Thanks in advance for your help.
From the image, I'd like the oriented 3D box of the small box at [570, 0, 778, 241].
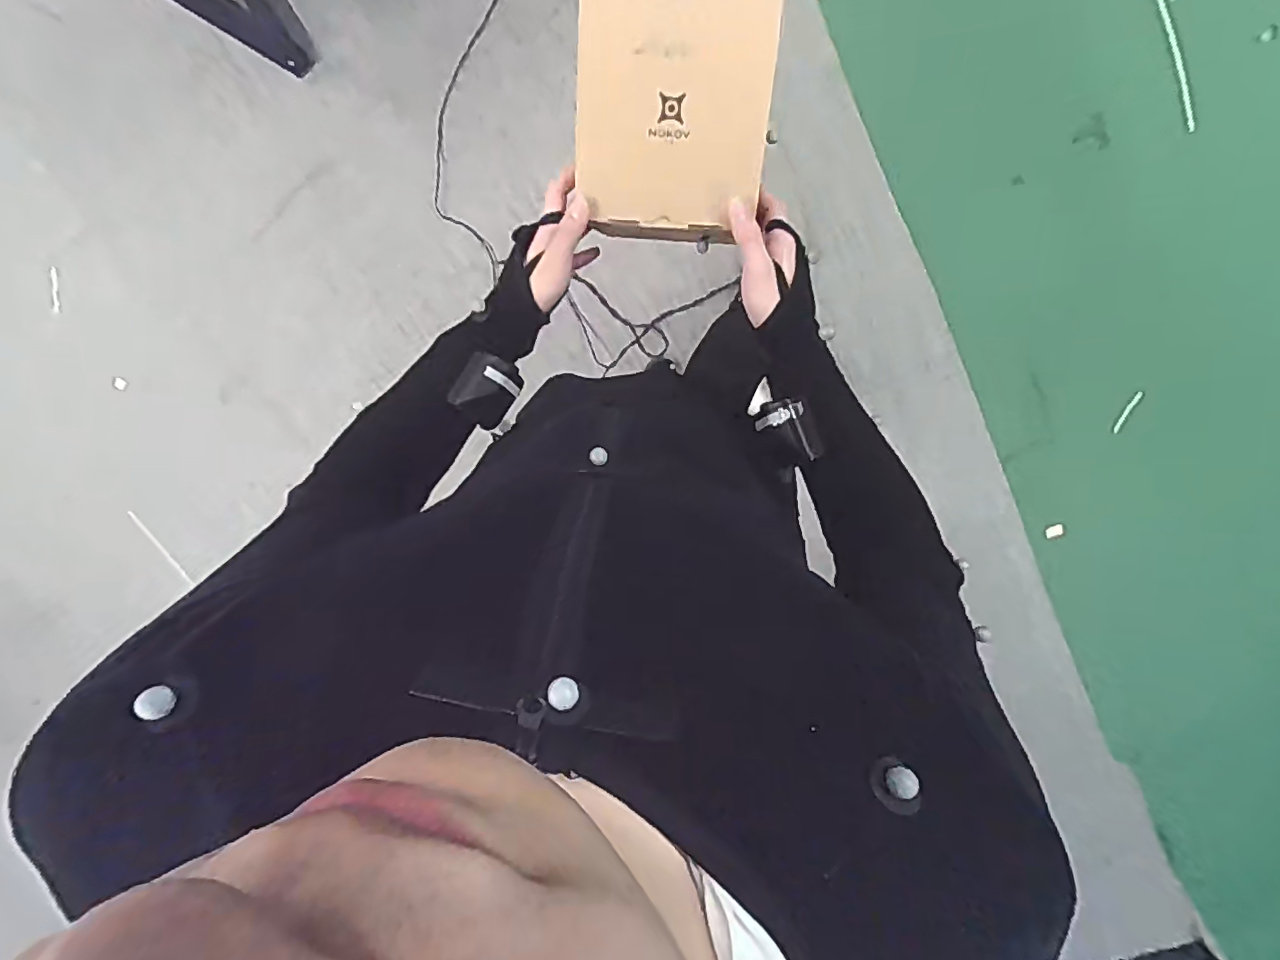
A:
[{"bbox_3d":[0.032,-0.339,0.532,0.168,0.176,0.179,6,109,4],"label":"small box"}]
